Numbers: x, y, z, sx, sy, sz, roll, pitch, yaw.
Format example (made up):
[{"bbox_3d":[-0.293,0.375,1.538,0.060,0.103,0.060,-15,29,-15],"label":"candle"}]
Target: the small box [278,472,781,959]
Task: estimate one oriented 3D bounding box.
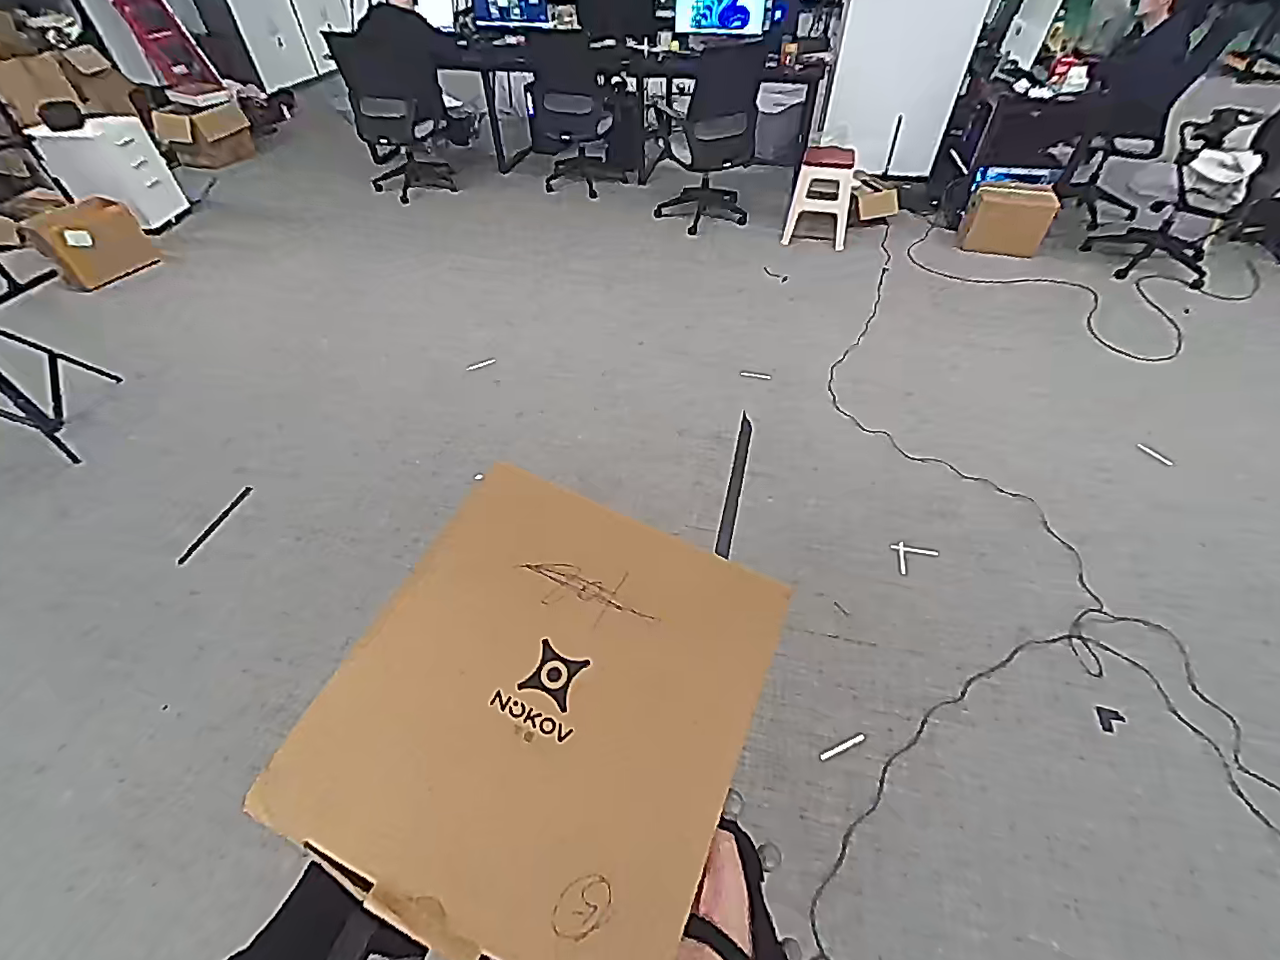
[{"bbox_3d":[-0.041,0.133,0.309,0.168,0.176,0.179,23,58,10],"label":"small box"}]
